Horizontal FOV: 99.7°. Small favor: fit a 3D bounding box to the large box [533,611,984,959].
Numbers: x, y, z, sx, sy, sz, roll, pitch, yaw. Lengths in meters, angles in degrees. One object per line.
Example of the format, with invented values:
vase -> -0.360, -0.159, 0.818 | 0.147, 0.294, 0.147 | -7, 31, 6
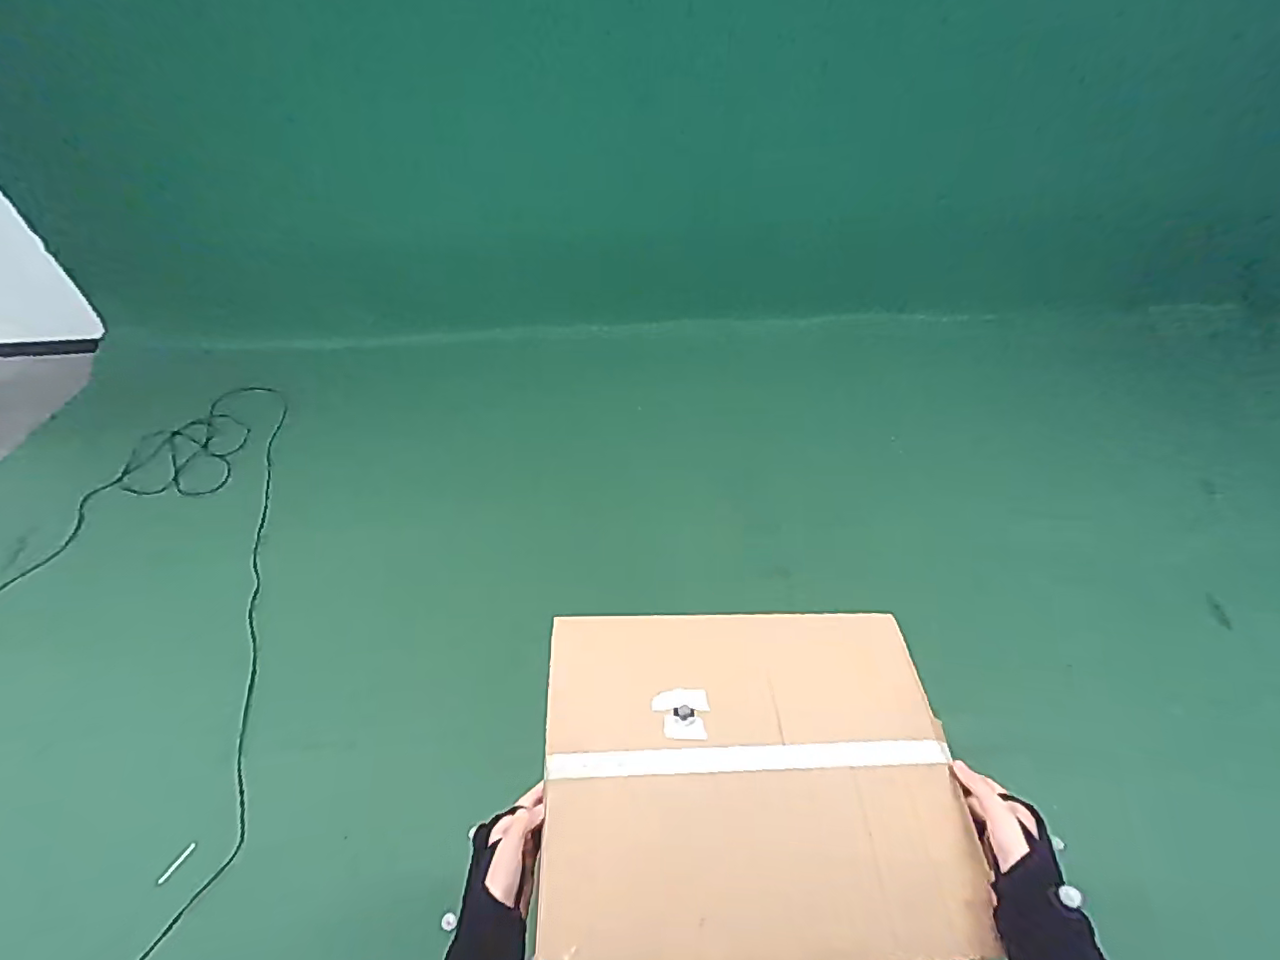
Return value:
large box -> 0.095, 0.372, 0.668 | 0.408, 0.320, 0.320 | 0, 52, -4
